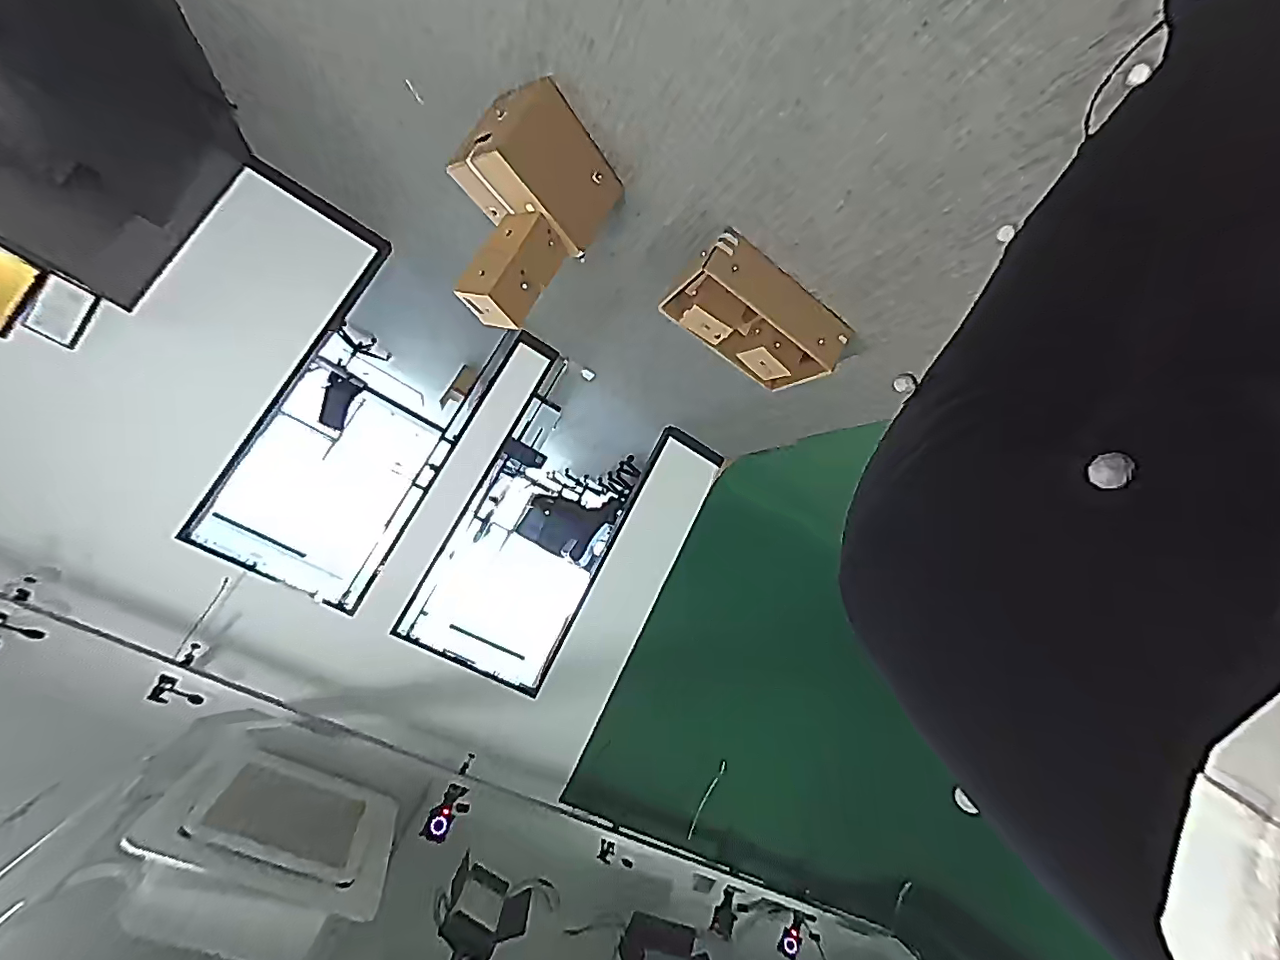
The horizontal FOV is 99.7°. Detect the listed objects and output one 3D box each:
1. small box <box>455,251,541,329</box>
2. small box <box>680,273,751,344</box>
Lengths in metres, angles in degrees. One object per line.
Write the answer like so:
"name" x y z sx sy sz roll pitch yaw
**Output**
"small box" -0.454 -0.619 1.754 0.179 0.176 0.168 18 165 32
"small box" 0.286 -0.651 2.036 0.179 0.176 0.168 30 167 -12
